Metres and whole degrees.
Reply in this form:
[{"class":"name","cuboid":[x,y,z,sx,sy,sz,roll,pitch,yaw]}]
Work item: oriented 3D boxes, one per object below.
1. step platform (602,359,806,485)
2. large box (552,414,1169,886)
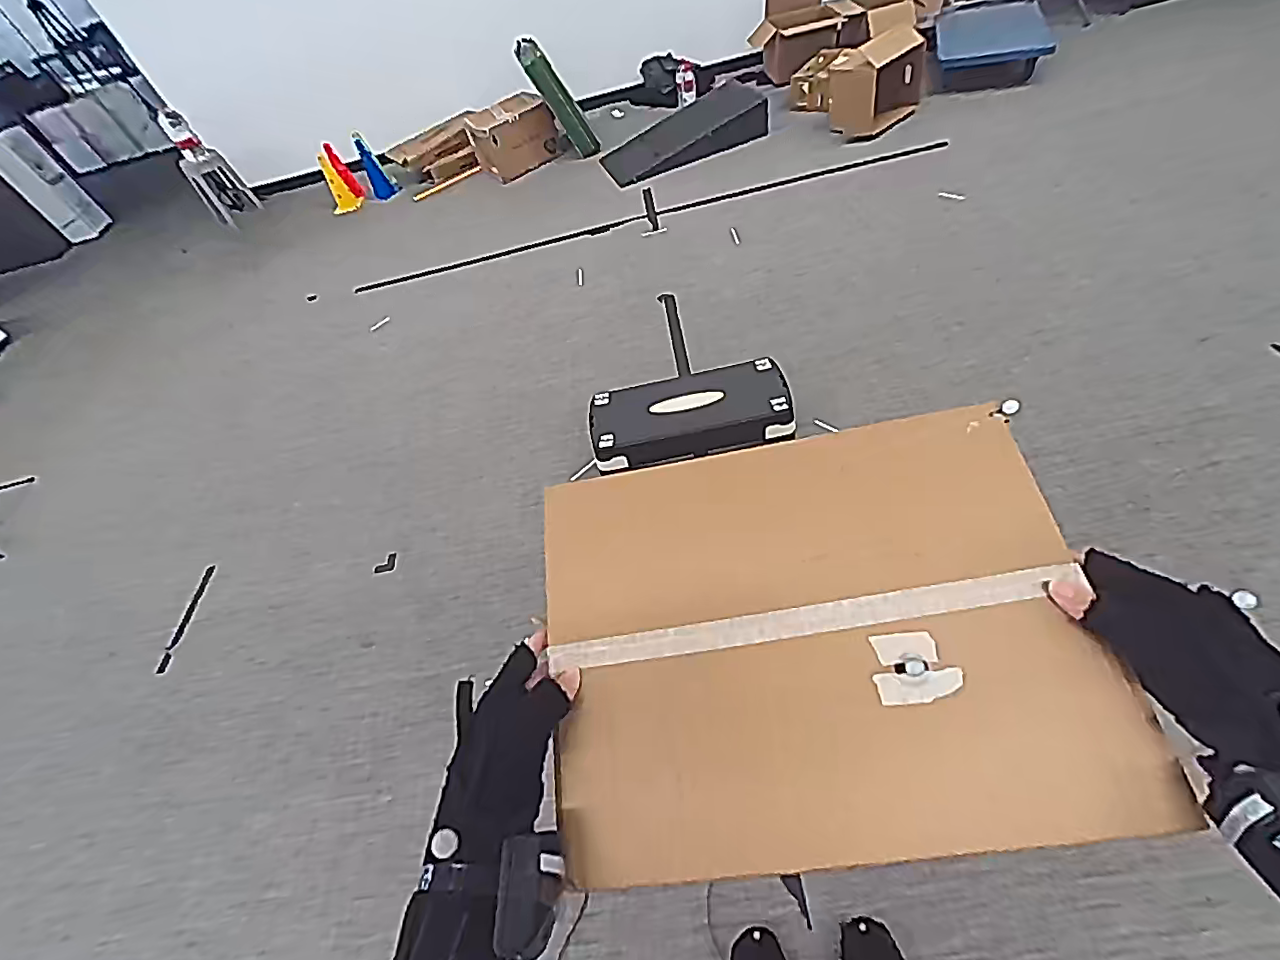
[{"class":"step platform","cuboid":[0.211,-0.199,1.862,0.684,0.204,0.286,-12,51,4]},{"class":"large box","cuboid":[0.153,0.179,0.562,0.408,0.320,0.320,-11,63,6]}]
